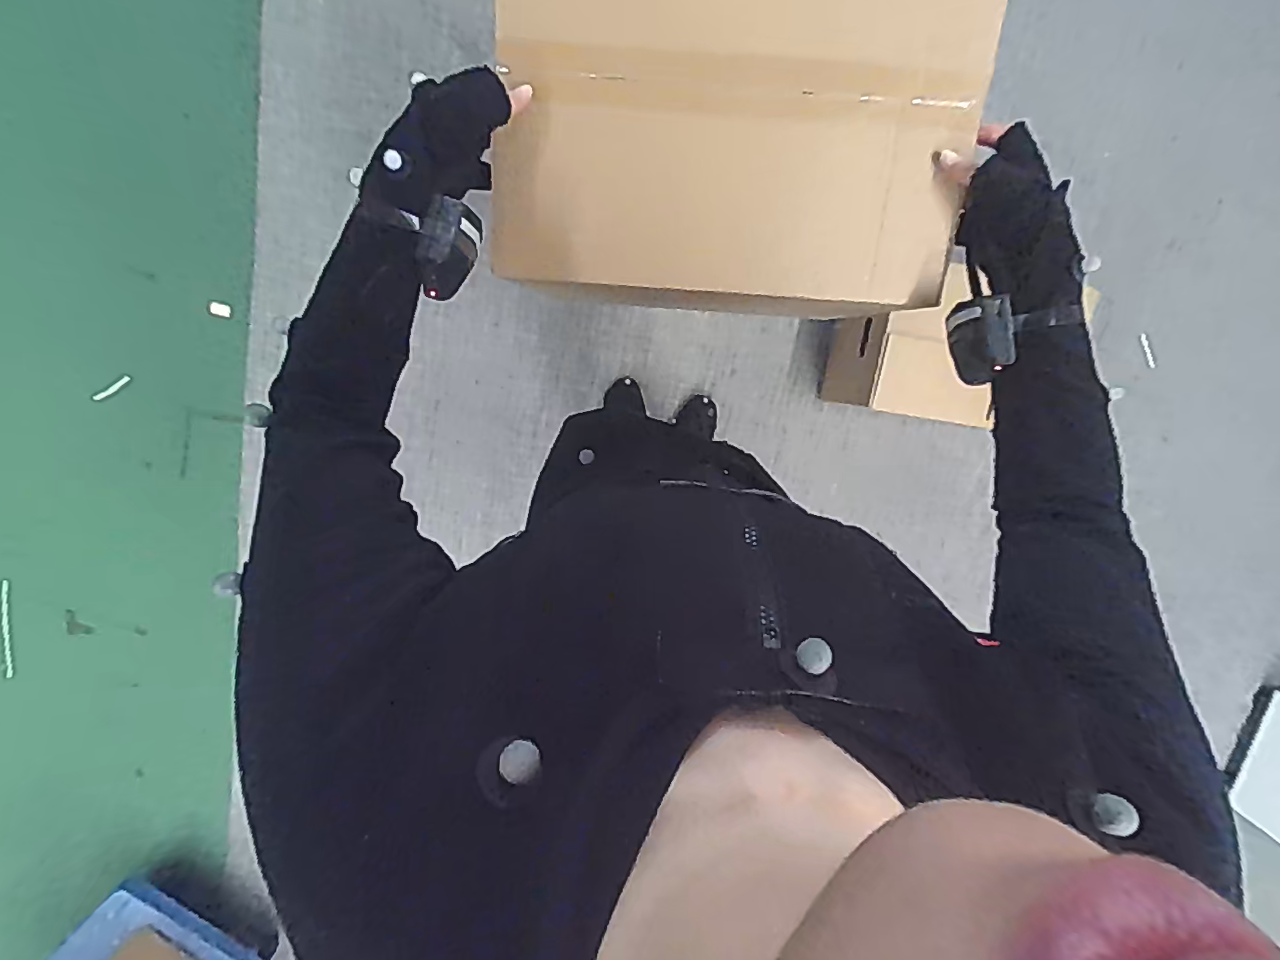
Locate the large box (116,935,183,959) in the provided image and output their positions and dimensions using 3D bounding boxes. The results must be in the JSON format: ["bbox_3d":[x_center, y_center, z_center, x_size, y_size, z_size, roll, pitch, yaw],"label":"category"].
[{"bbox_3d":[-1.401,1.576,1.467,0.320,0.320,0.408,-42,99,10],"label":"large box"}]
